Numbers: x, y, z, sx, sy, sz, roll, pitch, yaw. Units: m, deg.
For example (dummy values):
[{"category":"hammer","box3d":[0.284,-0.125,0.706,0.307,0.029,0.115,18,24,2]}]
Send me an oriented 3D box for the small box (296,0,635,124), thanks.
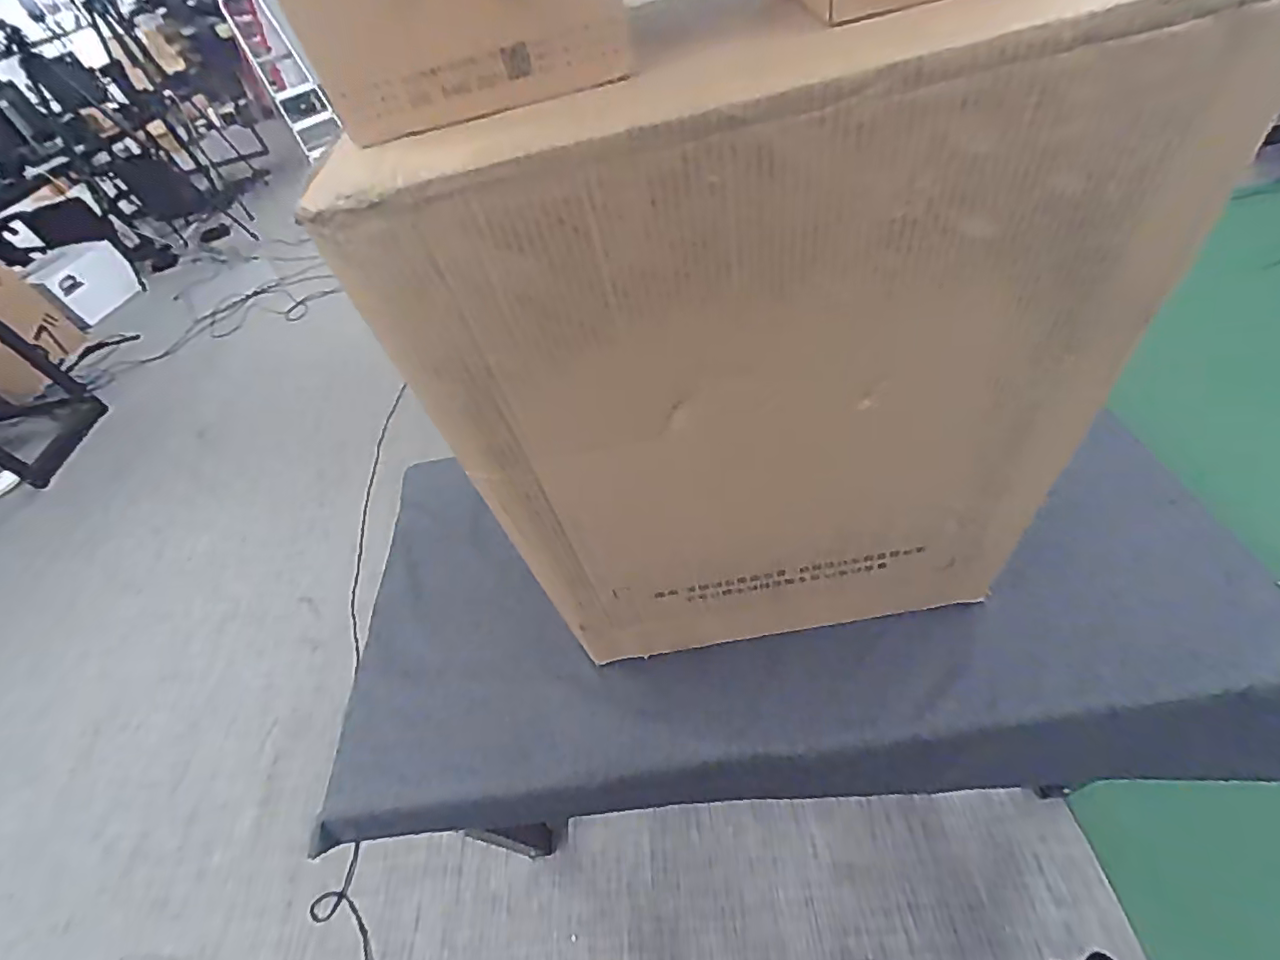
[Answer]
[{"category":"small box","box3d":[-0.101,-0.321,0.292,0.168,0.176,0.179,-10,52,5]}]
